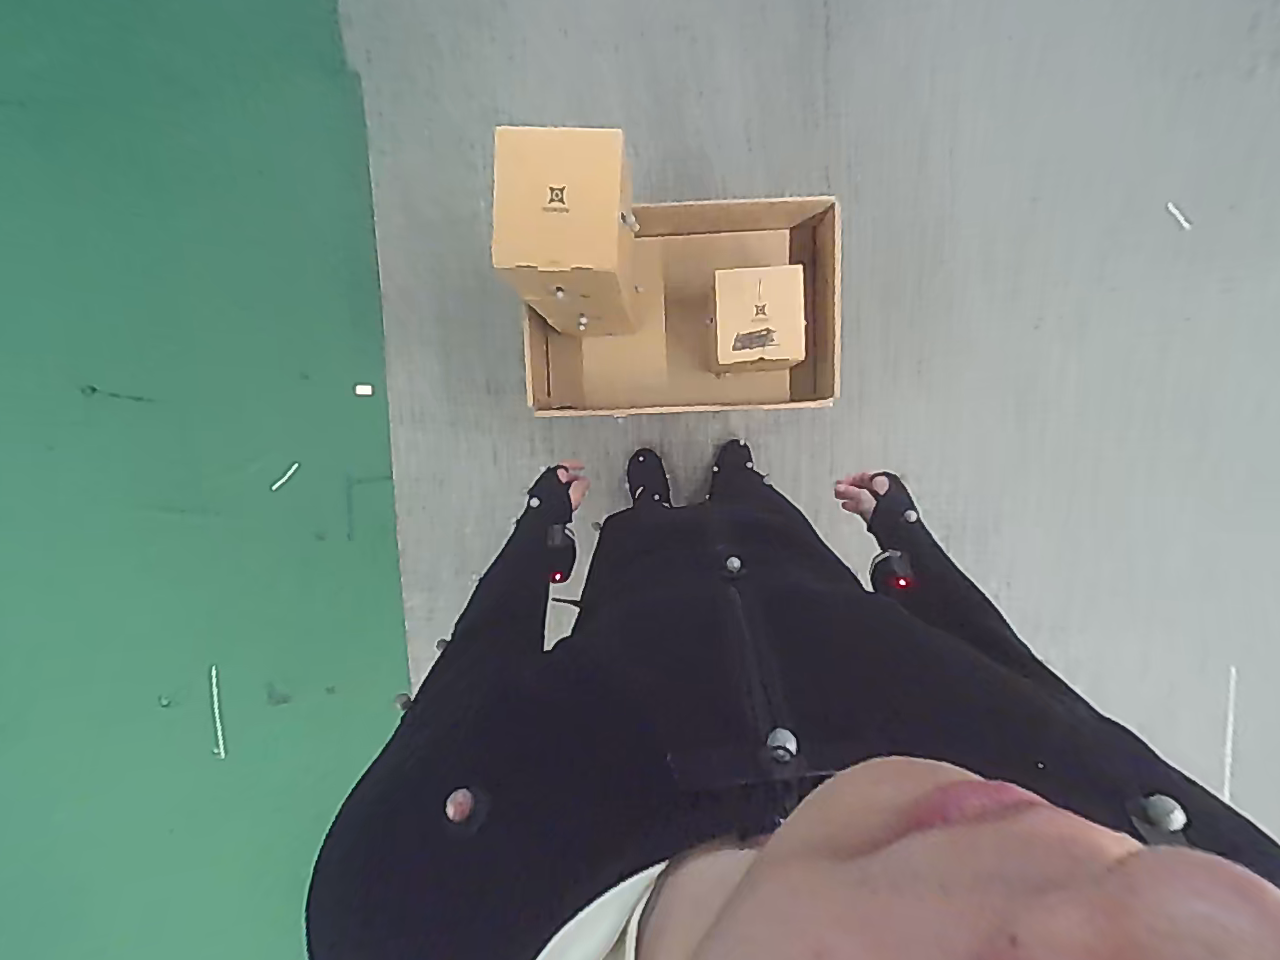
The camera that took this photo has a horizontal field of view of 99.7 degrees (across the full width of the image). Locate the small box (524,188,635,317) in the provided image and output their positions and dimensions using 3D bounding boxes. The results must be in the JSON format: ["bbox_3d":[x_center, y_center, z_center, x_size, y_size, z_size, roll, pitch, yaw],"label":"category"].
[{"bbox_3d":[-0.097,-0.391,0.930,0.168,0.176,0.179,2,96,3],"label":"small box"}]

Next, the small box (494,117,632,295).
[{"bbox_3d":[-0.100,-0.376,0.769,0.168,0.176,0.179,4,96,2],"label":"small box"}]

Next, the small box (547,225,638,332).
[{"bbox_3d":[-0.092,-0.406,1.094,0.168,0.176,0.179,0,95,2],"label":"small box"}]

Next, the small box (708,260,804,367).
[{"bbox_3d":[0.228,-0.324,1.086,0.168,0.176,0.179,-2,94,2],"label":"small box"}]
